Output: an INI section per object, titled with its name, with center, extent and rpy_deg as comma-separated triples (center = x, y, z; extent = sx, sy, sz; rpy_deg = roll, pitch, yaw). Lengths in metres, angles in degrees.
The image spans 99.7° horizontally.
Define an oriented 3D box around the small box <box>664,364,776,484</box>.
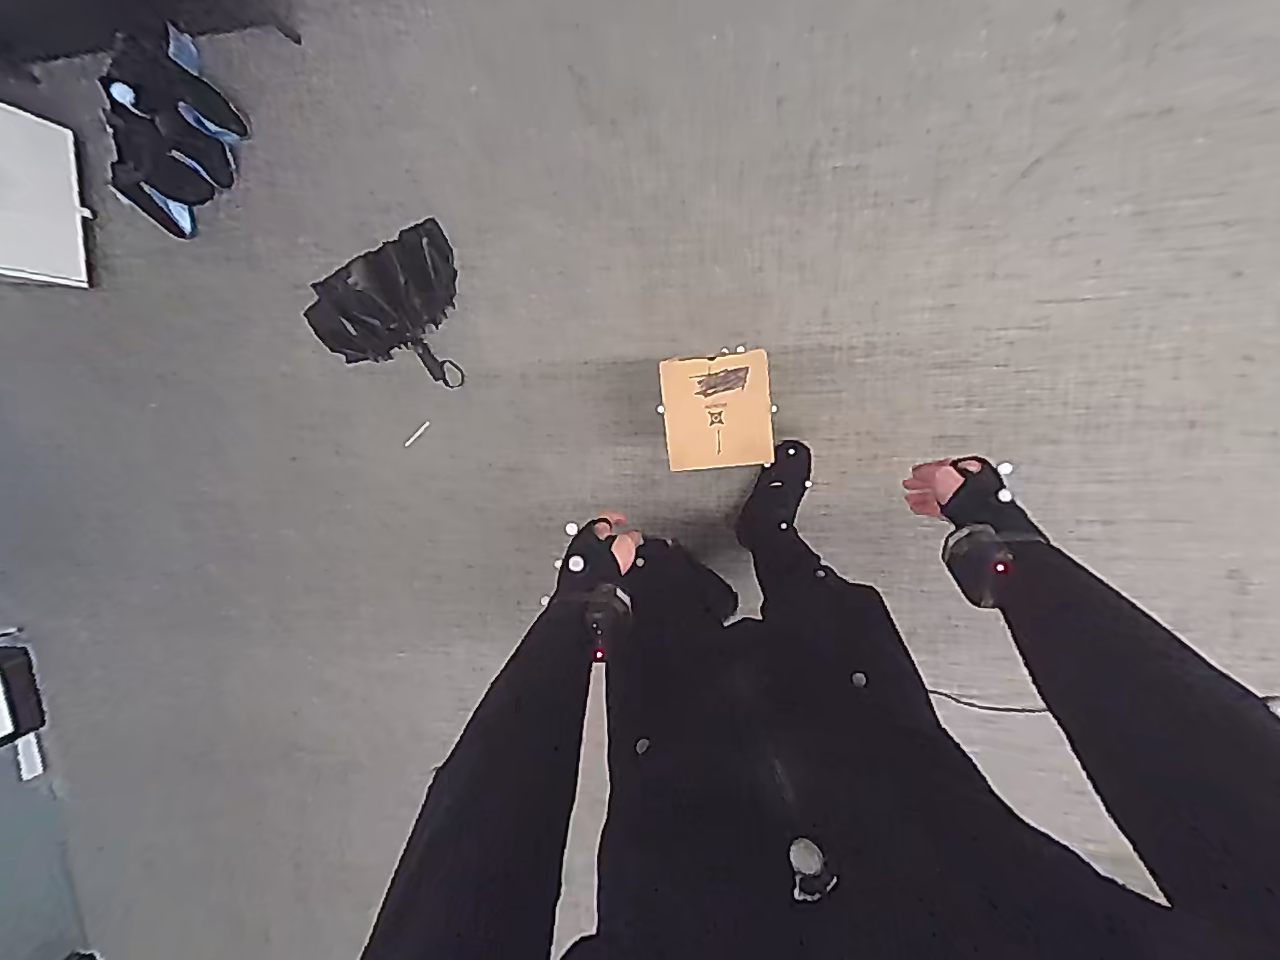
[small box]
center = 0.135, -0.097, 0.923
extent = 0.168, 0.176, 0.179
rpy_deg = -5, 100, 9
